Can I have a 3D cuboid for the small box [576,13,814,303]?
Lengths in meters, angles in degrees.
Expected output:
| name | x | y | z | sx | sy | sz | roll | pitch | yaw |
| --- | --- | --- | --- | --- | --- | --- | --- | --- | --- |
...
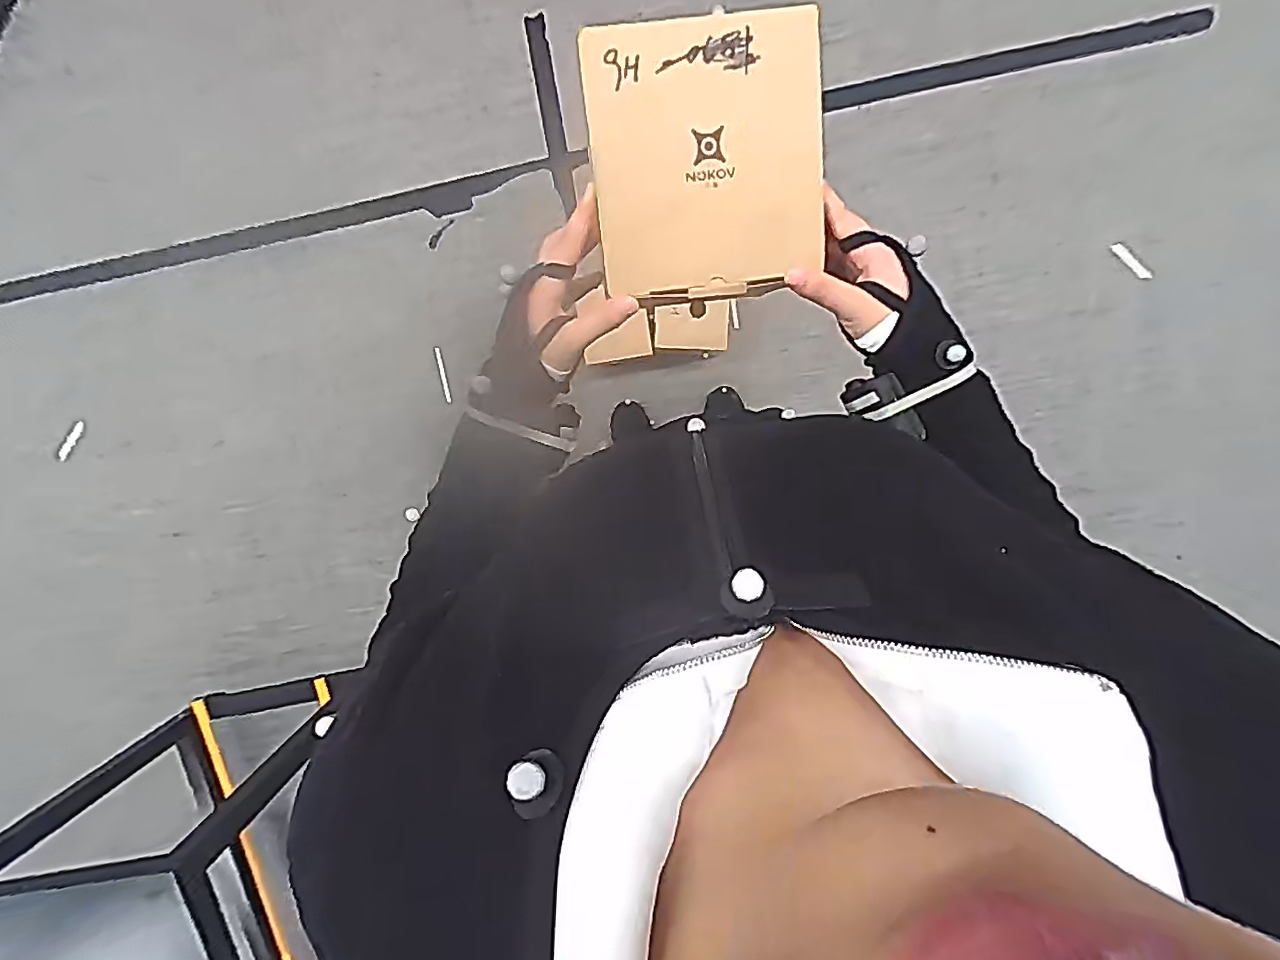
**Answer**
| name | x | y | z | sx | sy | sz | roll | pitch | yaw |
| --- | --- | --- | --- | --- | --- | --- | --- | --- | --- |
| small box | 0.041 | -0.251 | 0.469 | 0.168 | 0.176 | 0.179 | -7 | 106 | -2 |
